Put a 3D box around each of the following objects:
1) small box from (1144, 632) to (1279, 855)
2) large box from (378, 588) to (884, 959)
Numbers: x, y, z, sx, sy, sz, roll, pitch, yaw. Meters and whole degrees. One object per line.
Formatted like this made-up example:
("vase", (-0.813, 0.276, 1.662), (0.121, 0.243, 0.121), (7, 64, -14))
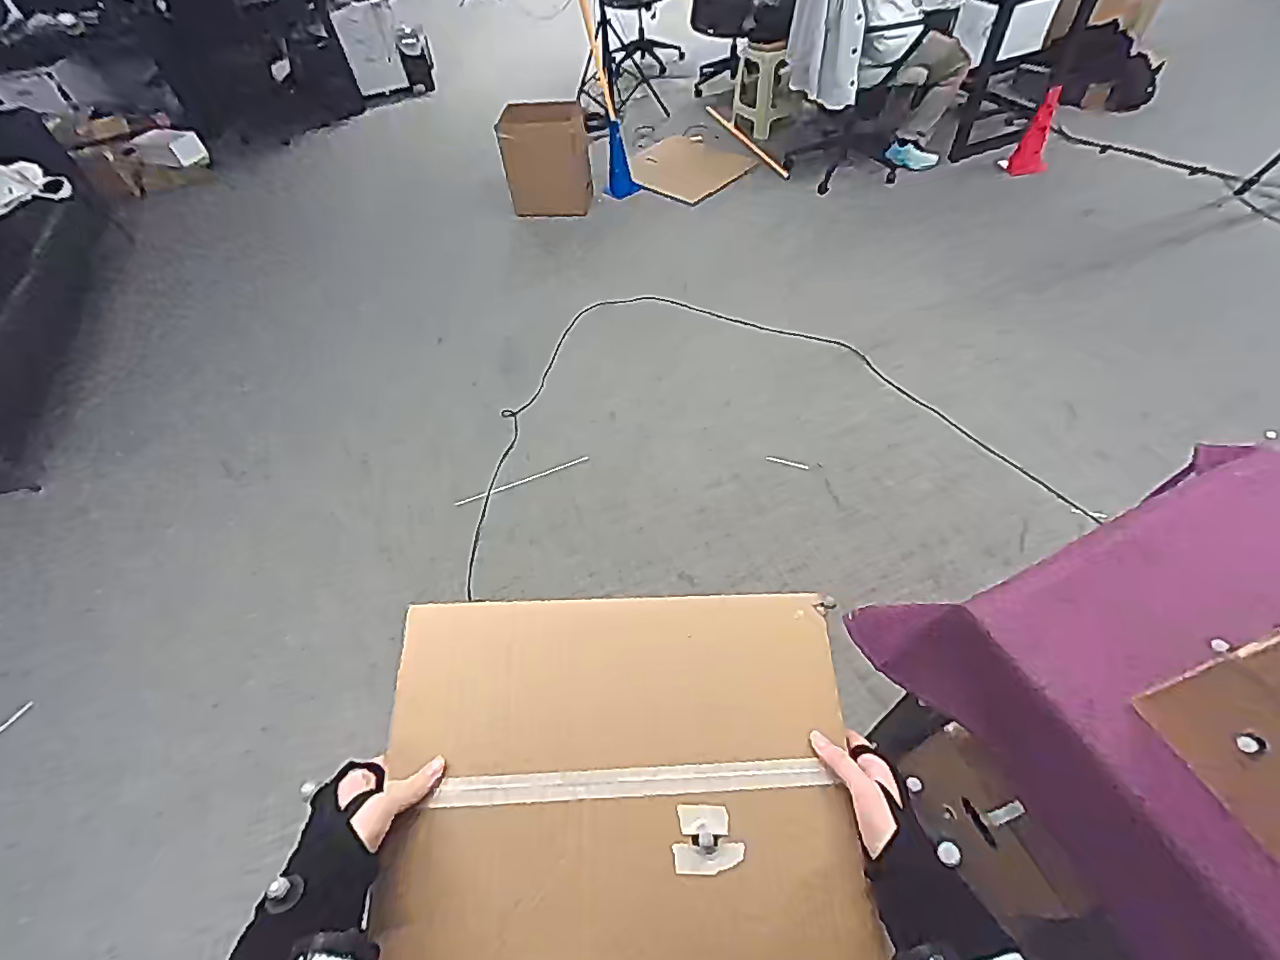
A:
("small box", (0.688, 0.257, 0.546), (0.168, 0.176, 0.179), (-20, 52, -8))
("large box", (-0.019, 0.315, 0.608), (0.408, 0.320, 0.320), (-1, 67, -4))
